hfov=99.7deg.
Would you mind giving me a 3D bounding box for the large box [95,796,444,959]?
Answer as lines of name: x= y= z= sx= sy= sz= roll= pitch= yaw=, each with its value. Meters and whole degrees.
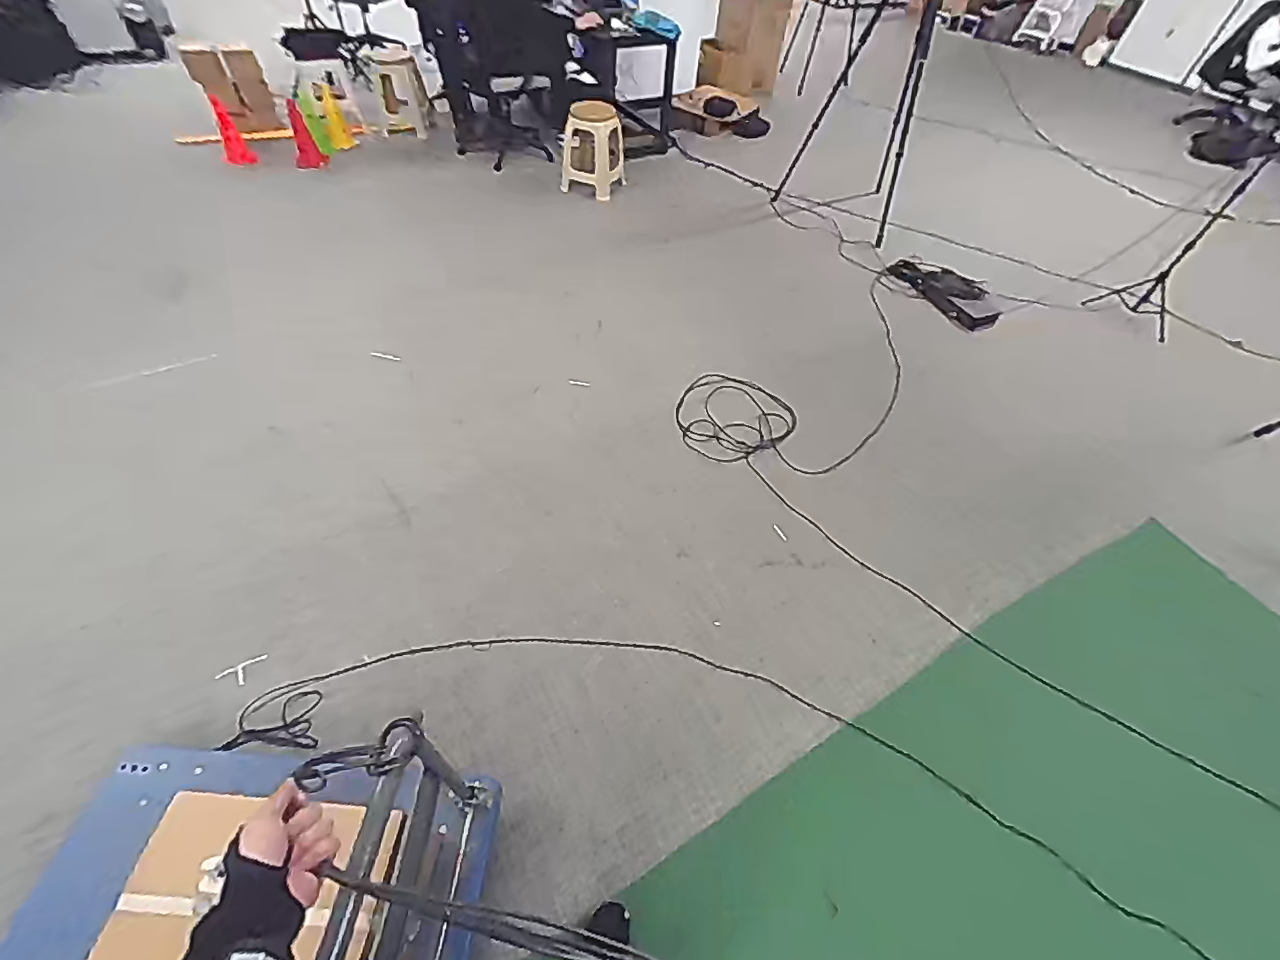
large box: x=-0.620 y=0.777 z=0.967 sx=0.408 sy=0.320 sz=0.320 roll=4 pitch=50 yaw=0
